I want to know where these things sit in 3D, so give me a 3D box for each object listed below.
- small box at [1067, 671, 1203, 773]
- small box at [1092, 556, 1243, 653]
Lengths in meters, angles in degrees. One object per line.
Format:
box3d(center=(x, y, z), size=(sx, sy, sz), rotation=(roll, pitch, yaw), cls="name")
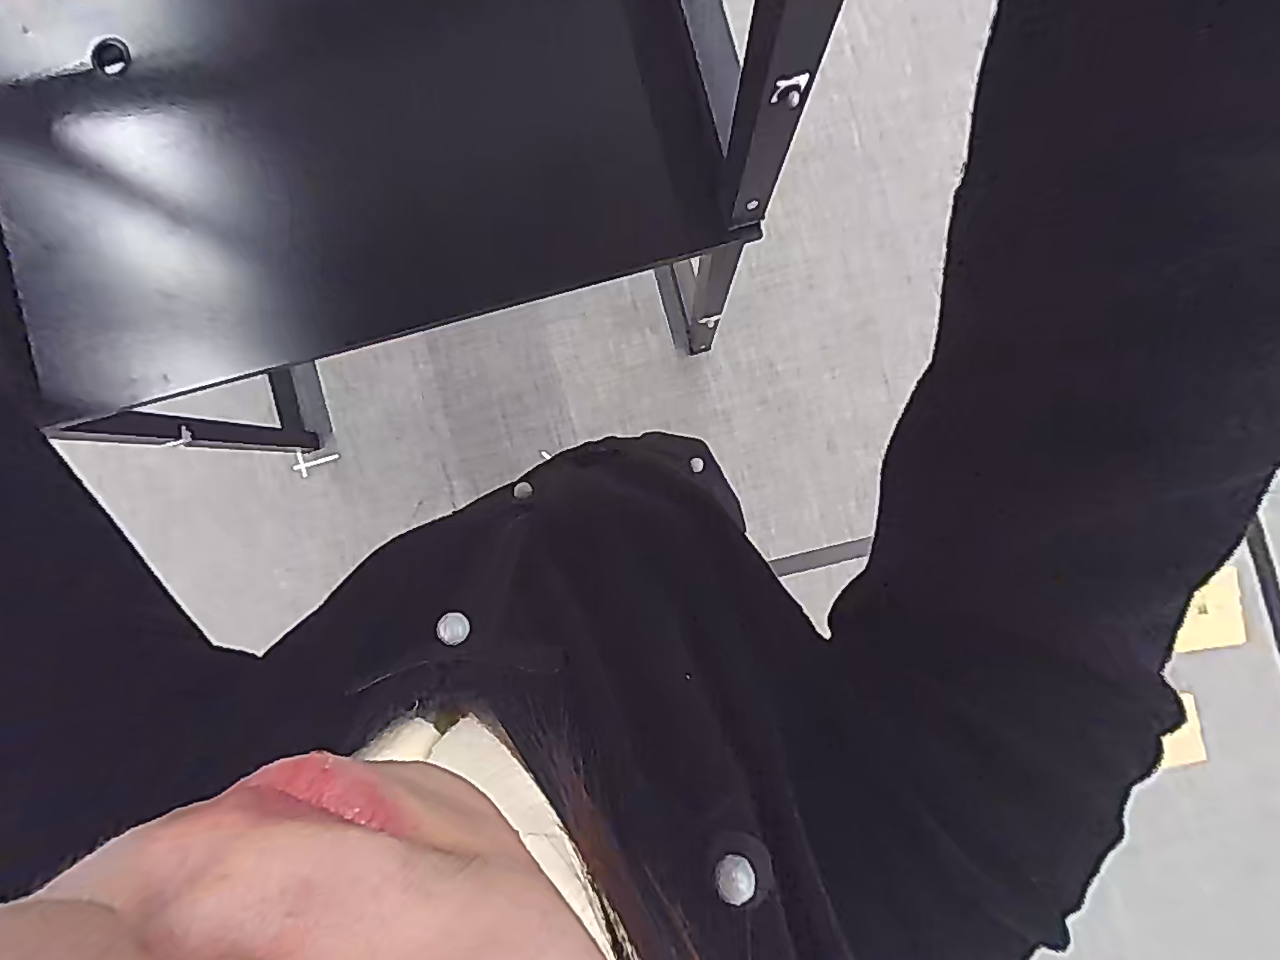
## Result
box3d(center=(1.239, 0.601, 1.365), size=(0.179, 0.176, 0.168), rotation=(-13, 90, 2), cls="small box")
box3d(center=(1.151, 0.269, 1.199), size=(0.179, 0.176, 0.168), rotation=(-8, 91, 2), cls="small box")
